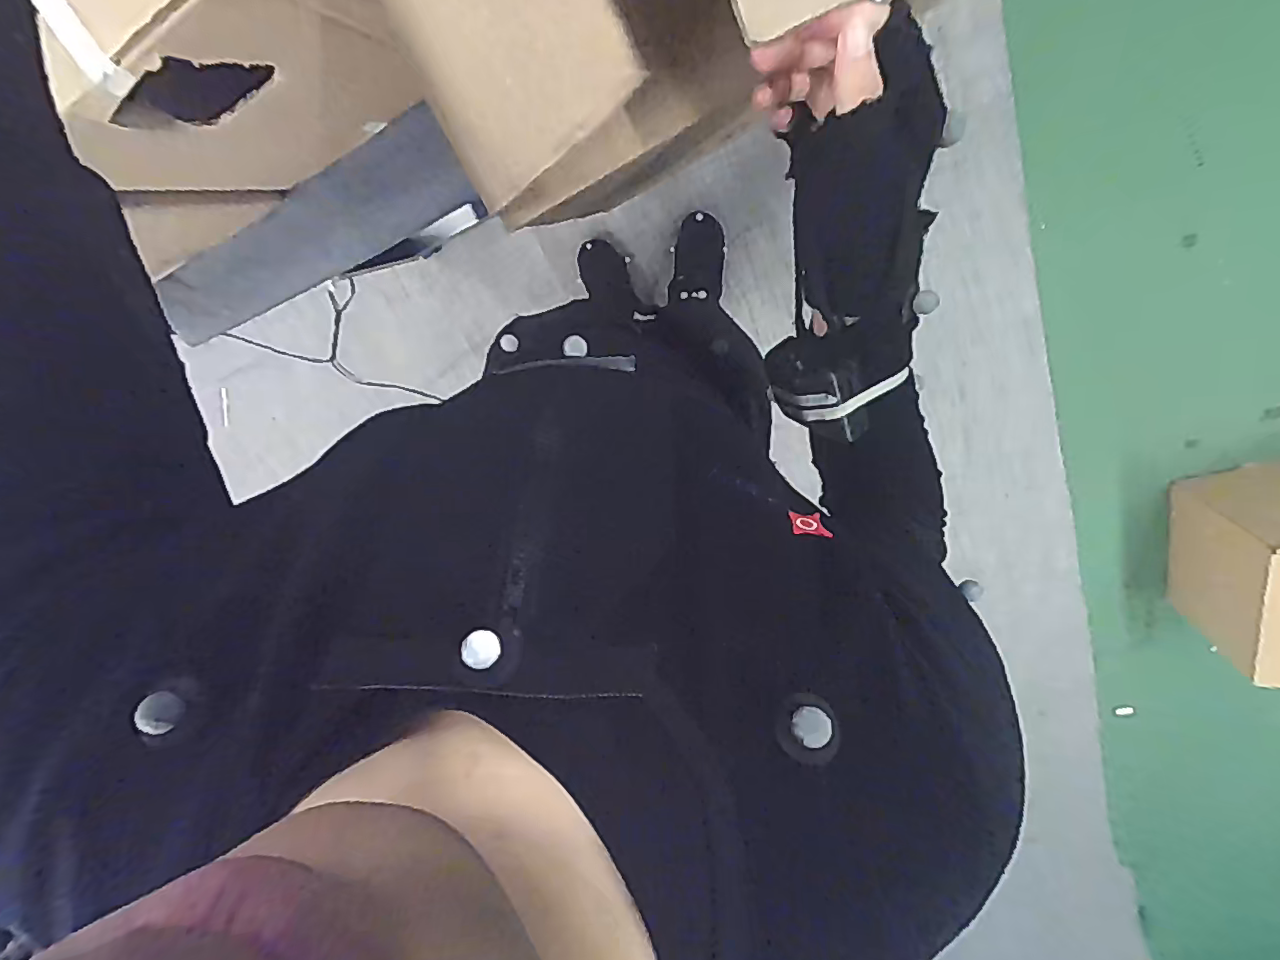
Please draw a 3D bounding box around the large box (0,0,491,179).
[{"bbox_3d":[-0.382,-0.495,0.391,0.320,0.320,0.408,-18,115,19],"label":"large box"}]
